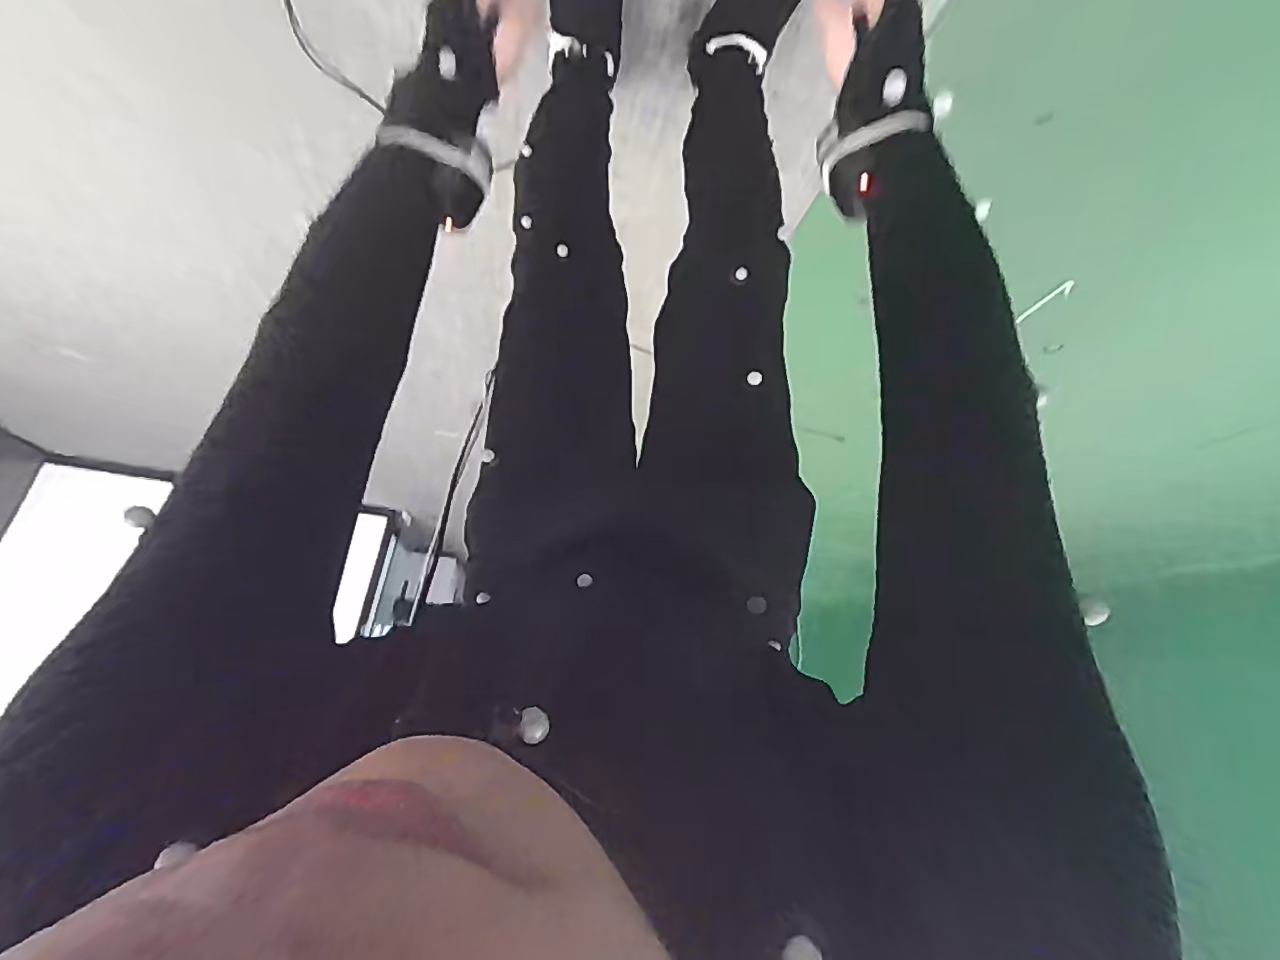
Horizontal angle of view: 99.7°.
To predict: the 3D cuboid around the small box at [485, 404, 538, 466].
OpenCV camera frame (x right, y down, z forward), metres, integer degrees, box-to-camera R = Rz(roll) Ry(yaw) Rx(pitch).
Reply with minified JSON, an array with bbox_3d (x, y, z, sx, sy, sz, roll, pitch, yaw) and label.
[{"bbox_3d":[-0.507,-0.179,2.133,0.168,0.176,0.179,14,157,-15],"label":"small box"}]
